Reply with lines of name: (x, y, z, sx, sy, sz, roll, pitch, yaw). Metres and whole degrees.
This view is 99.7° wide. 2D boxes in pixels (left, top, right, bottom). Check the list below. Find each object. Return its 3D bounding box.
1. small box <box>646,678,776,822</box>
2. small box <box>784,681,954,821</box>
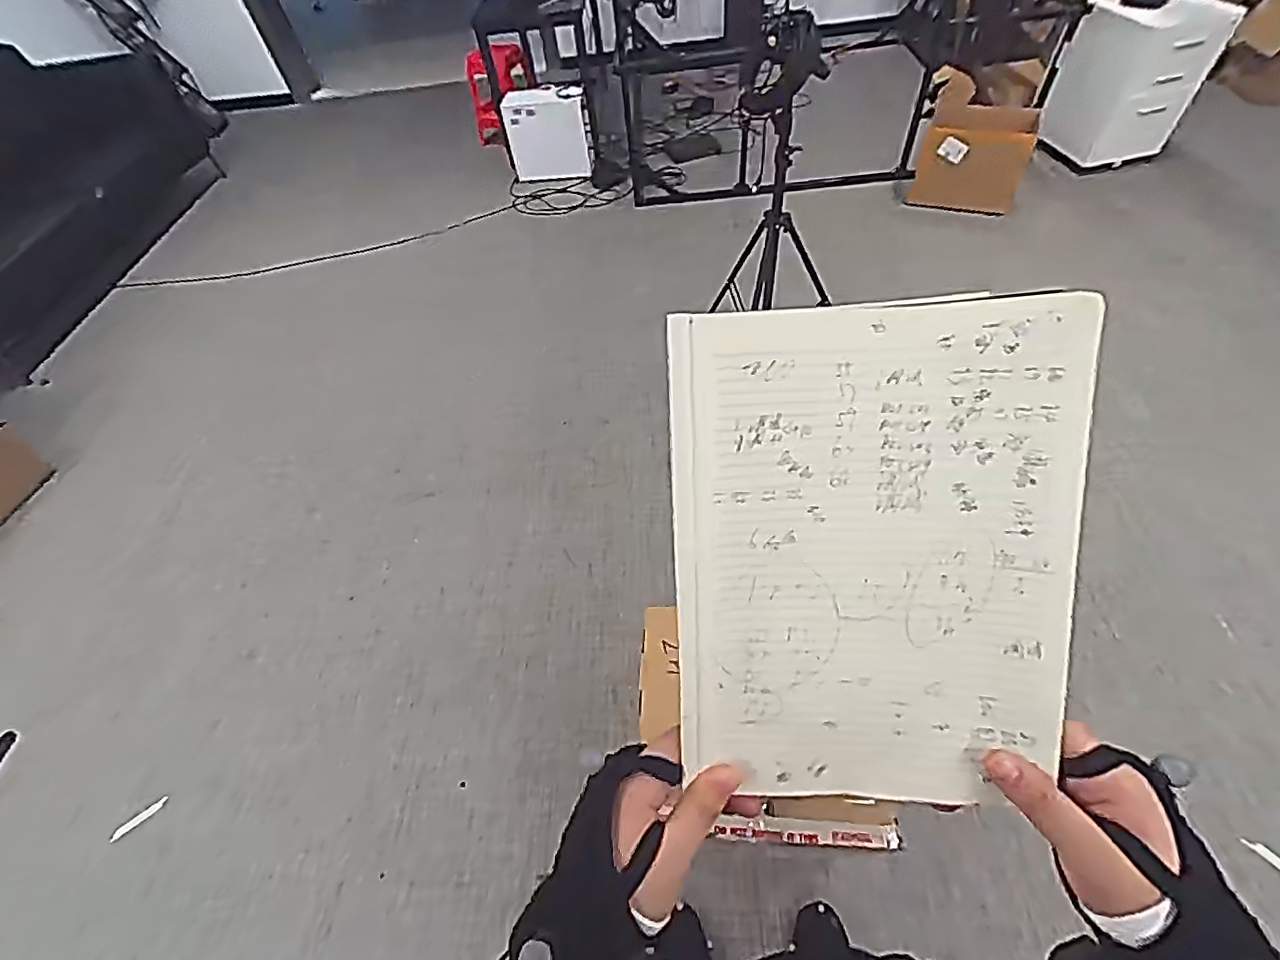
small box: (0.113, 0.420, 0.835, 0.179, 0.176, 0.168, 2, 55, 10)
small box: (0.329, 0.411, 0.816, 0.179, 0.176, 0.168, -3, 54, 3)
